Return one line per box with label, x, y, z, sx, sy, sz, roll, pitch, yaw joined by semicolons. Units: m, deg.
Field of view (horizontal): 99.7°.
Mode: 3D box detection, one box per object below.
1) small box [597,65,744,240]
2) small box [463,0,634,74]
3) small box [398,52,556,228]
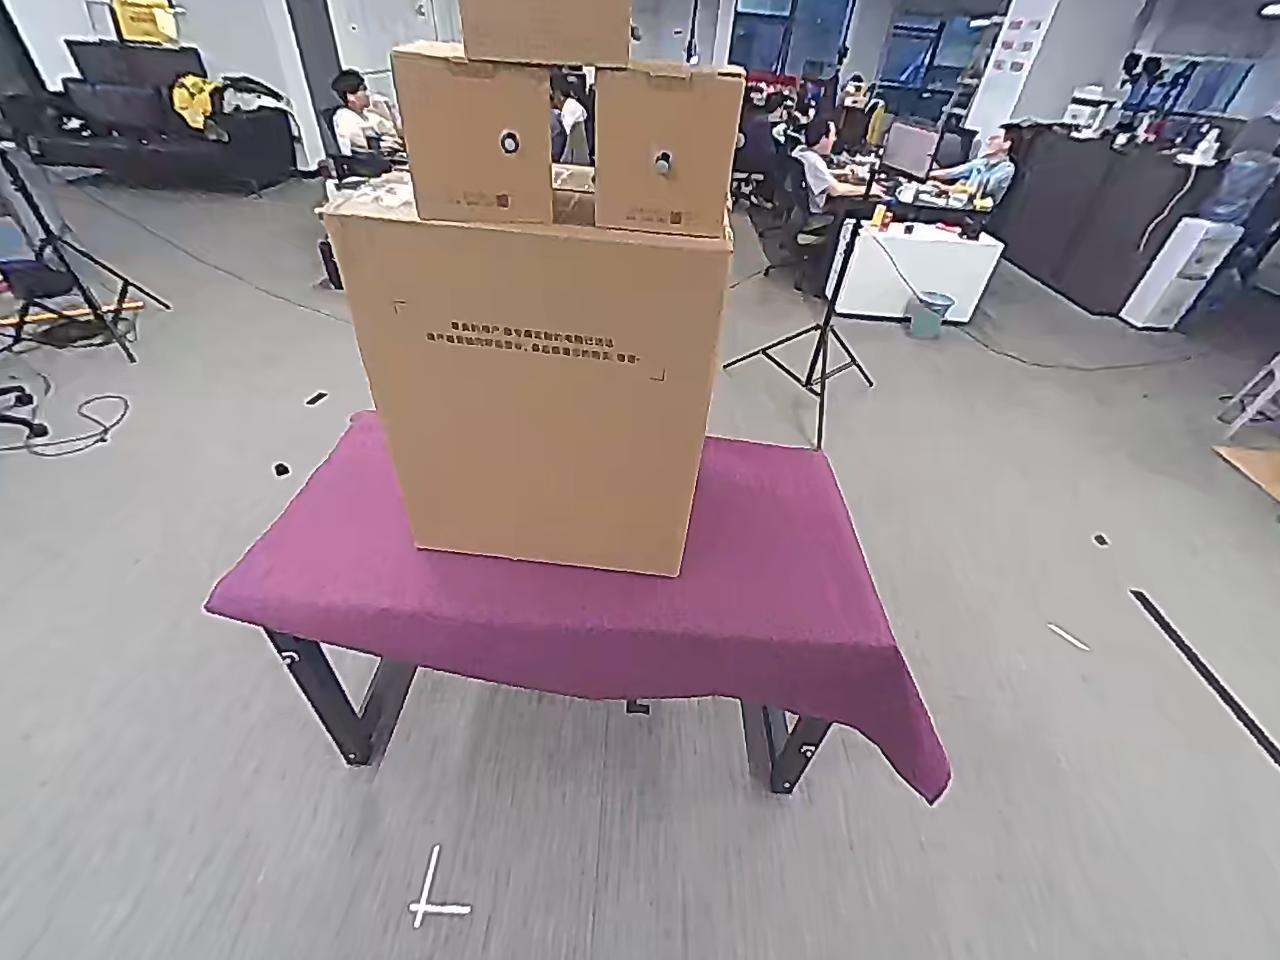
small box;0.038;-0.428;0.707;0.168;0.176;0.179;6;40;1
small box;-0.094;-0.551;0.587;0.179;0.176;0.168;-1;41;-4
small box;-0.194;-0.436;0.698;0.168;0.176;0.179;-1;39;-10
